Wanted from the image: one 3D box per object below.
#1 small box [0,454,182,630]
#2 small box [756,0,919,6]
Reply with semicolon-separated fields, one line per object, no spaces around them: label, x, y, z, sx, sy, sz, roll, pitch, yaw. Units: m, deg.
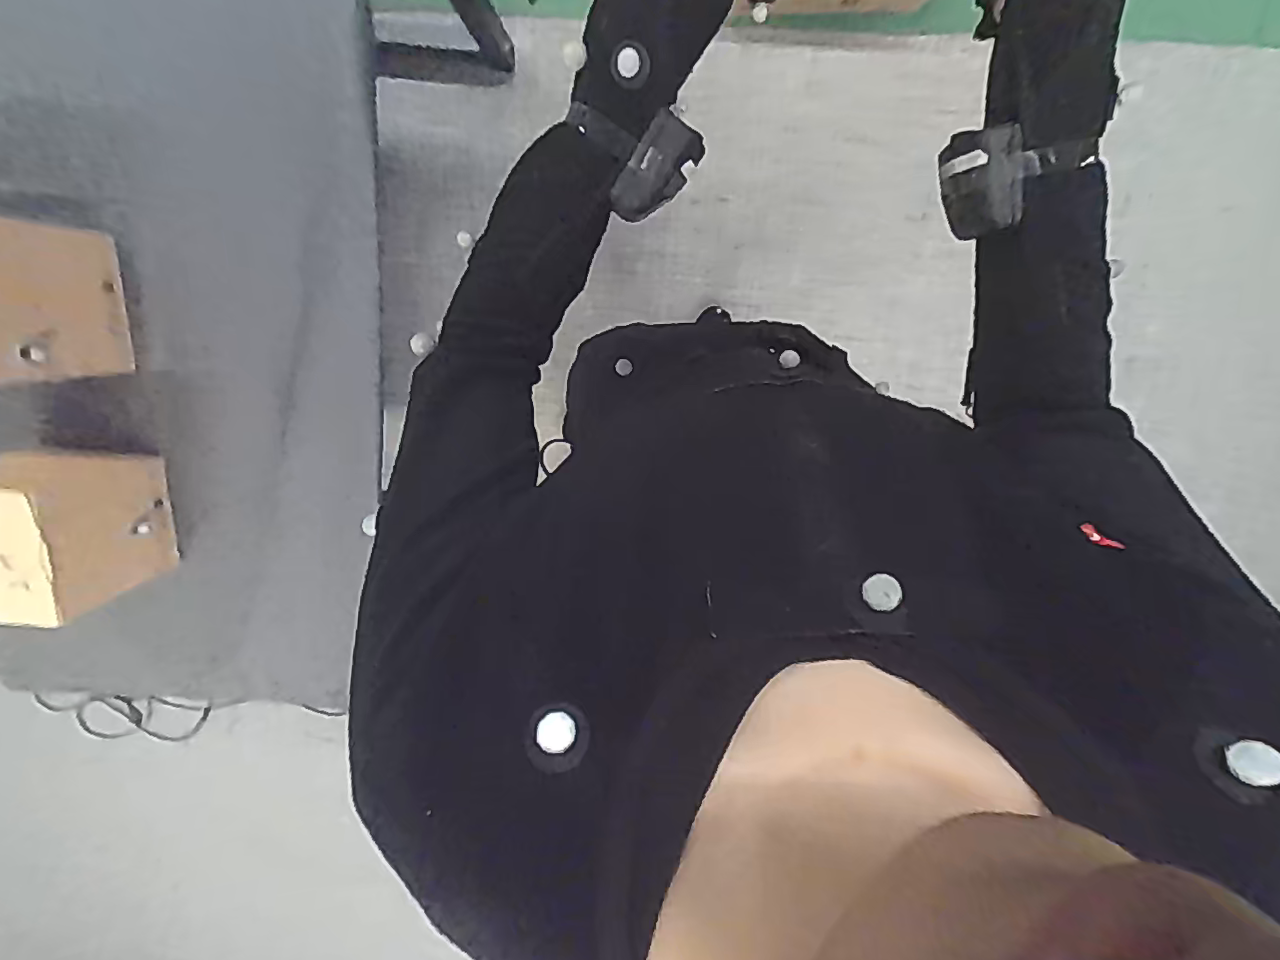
small box;-0.741;0.067;0.683;0.179;0.176;0.168;5;106;0
small box;0.147;-0.429;0.332;0.168;0.176;0.179;0;111;1
